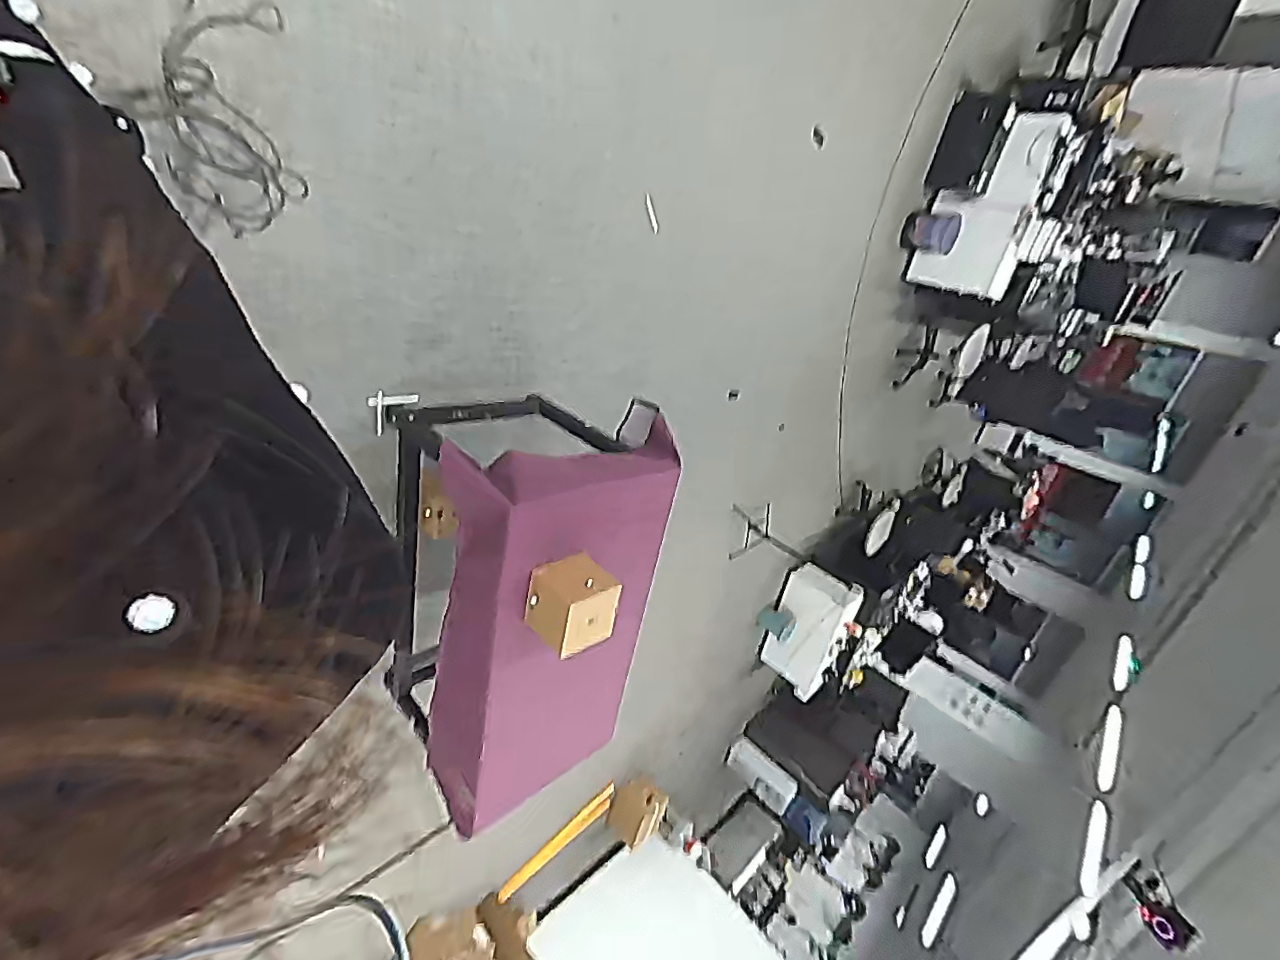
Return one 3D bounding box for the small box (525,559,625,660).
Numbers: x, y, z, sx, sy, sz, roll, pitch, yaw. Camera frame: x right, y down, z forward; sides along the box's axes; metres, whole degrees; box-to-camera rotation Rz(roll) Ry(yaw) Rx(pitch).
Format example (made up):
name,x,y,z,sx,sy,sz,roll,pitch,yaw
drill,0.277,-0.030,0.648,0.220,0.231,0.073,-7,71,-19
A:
name,x,y,z,sx,sy,sz,roll,pitch,yaw
small box,-0.172,0.327,1.408,0.179,0.176,0.168,-11,123,-44
